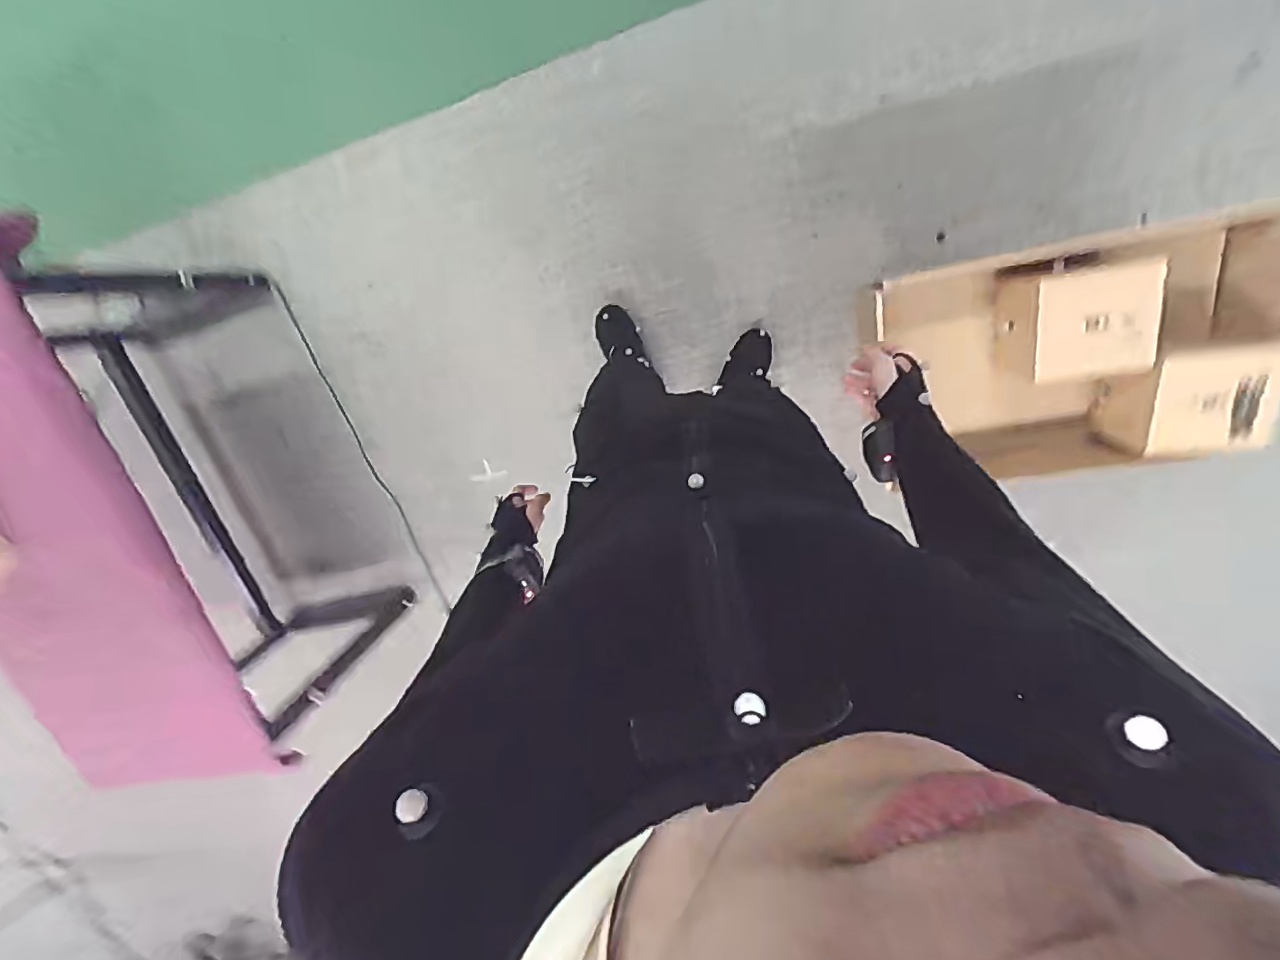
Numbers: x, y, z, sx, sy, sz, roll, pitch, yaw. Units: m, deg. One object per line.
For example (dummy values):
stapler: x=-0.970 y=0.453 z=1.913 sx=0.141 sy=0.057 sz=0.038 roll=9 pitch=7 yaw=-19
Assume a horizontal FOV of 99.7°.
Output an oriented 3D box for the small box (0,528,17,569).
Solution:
small box: x=-1.478 y=0.151 z=1.121 sx=0.179 sy=0.176 sz=0.168 roll=-30 pitch=102 yaw=18

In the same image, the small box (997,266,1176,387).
small box: x=0.740 y=-0.263 z=0.922 sx=0.179 sy=0.176 sz=0.168 roll=-6 pitch=110 yaw=12
